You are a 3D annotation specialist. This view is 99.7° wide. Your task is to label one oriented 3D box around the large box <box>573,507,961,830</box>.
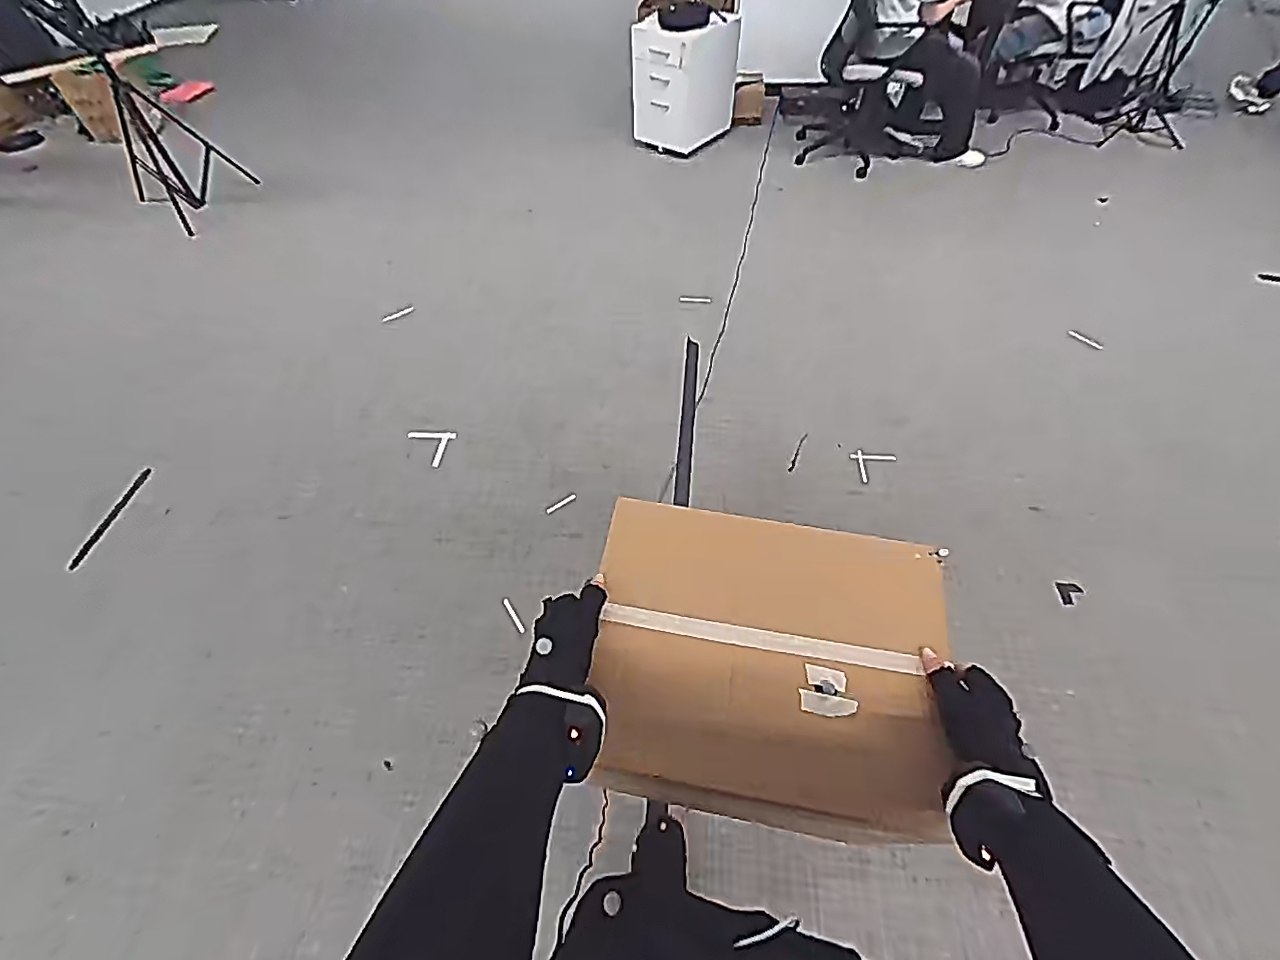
[{"bbox_3d":[0.145,0.269,0.753,0.408,0.320,0.320,9,57,5],"label":"large box"}]
